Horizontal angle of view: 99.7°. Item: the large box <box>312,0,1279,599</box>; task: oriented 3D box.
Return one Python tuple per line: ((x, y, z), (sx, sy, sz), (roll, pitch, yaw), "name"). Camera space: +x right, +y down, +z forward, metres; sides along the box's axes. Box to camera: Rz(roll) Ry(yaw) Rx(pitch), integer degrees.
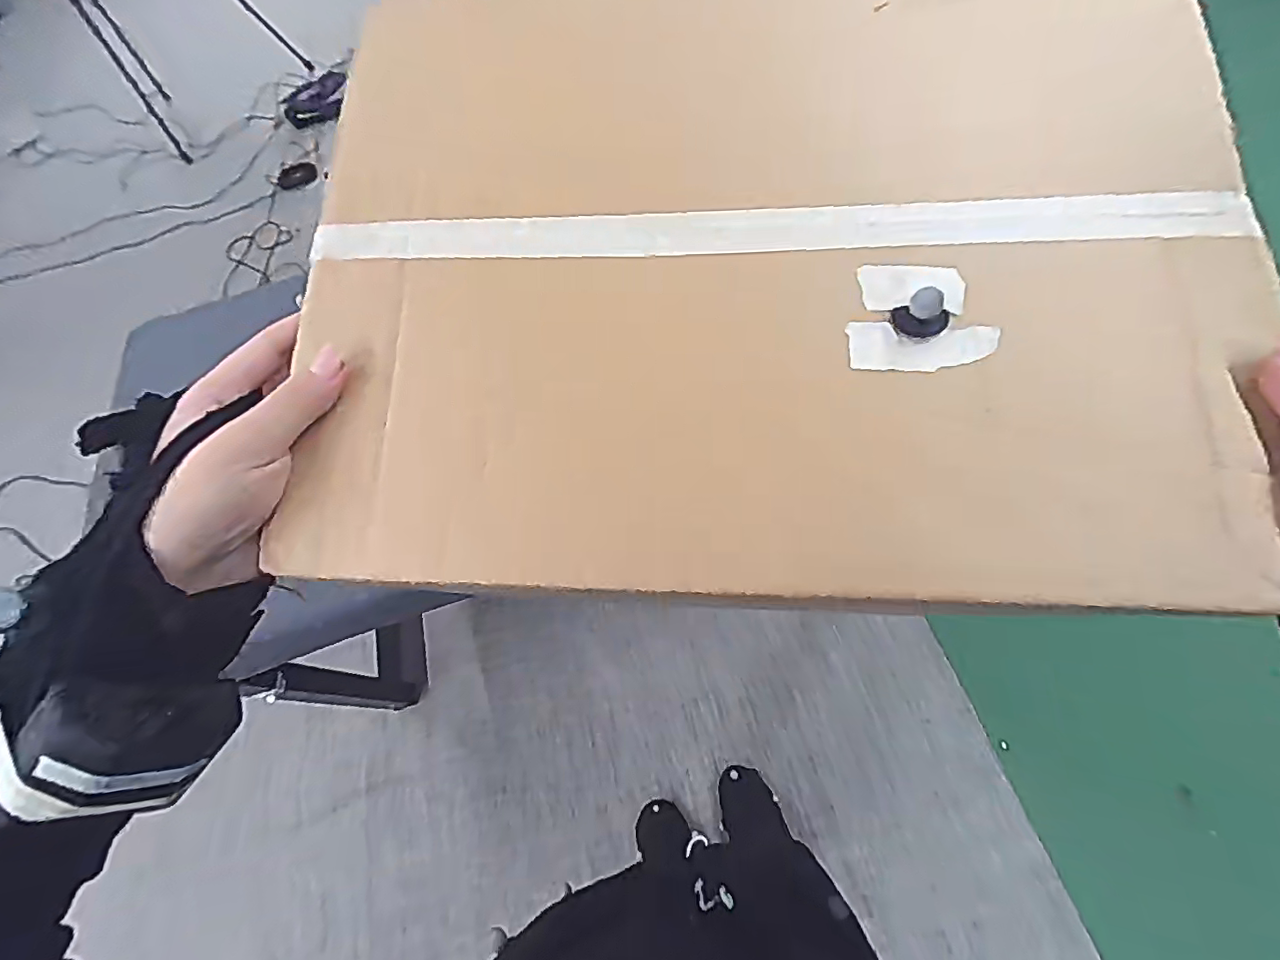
((0.066, -0.077, 0.402), (0.408, 0.320, 0.320), (1, 77, 5), "large box")
